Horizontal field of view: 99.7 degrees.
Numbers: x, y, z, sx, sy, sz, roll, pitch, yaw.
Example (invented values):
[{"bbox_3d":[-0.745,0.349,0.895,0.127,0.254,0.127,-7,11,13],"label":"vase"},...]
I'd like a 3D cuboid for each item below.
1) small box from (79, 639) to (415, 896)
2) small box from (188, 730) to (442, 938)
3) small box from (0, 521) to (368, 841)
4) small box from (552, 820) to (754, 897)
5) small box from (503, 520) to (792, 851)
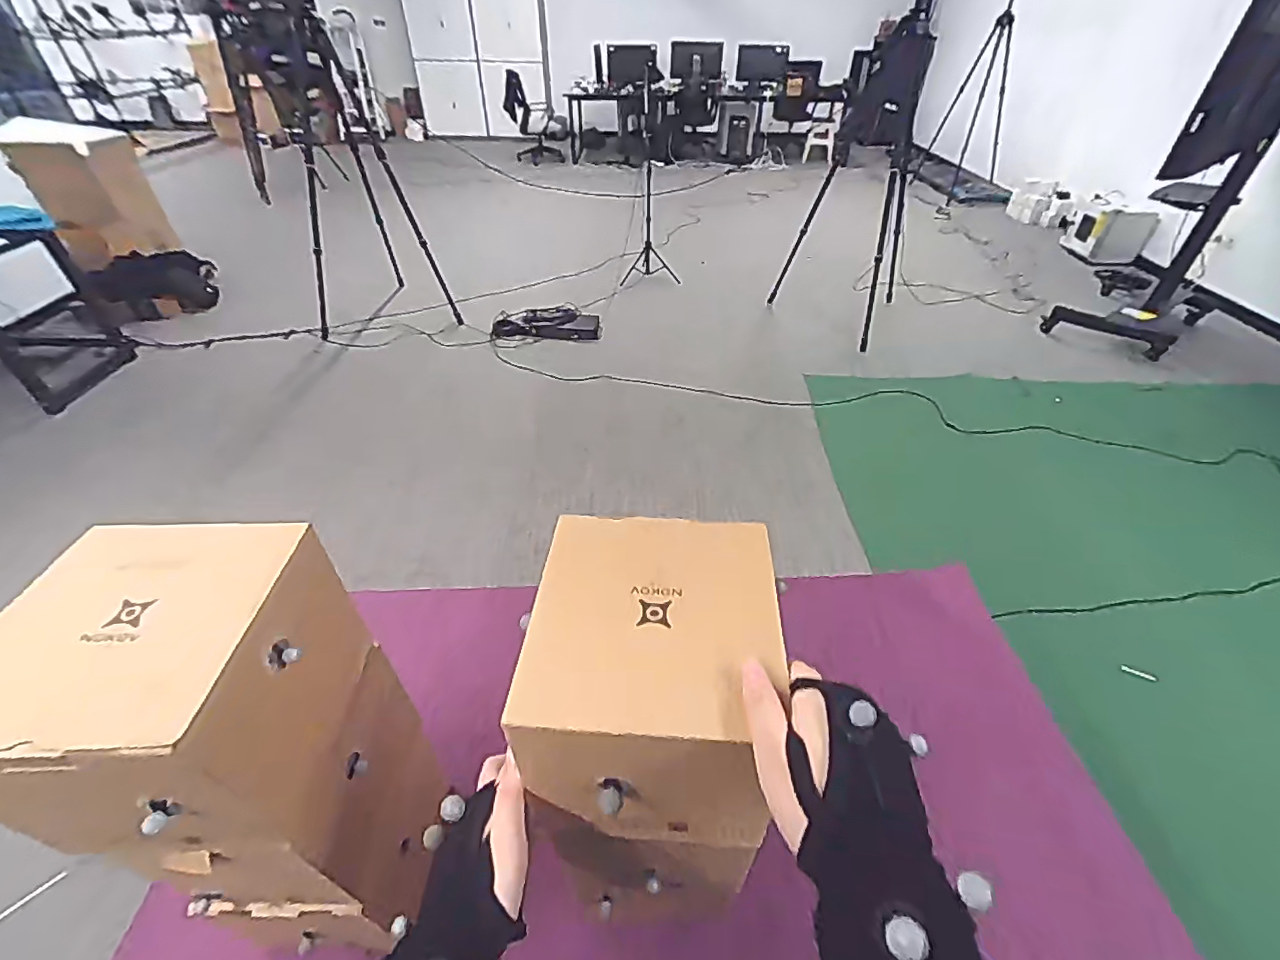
[{"bbox_3d":[-0.337,0.271,0.516,0.168,0.176,0.179,2,40,1],"label":"small box"},{"bbox_3d":[-0.342,0.400,0.619,0.168,0.176,0.179,2,42,-1],"label":"small box"},{"bbox_3d":[-0.333,0.150,0.406,0.168,0.176,0.179,1,41,-2],"label":"small box"},{"bbox_3d":[0.011,0.270,0.525,0.168,0.176,0.179,2,40,2],"label":"small box"},{"bbox_3d":[0.011,0.154,0.411,0.168,0.176,0.179,3,39,4],"label":"small box"}]
